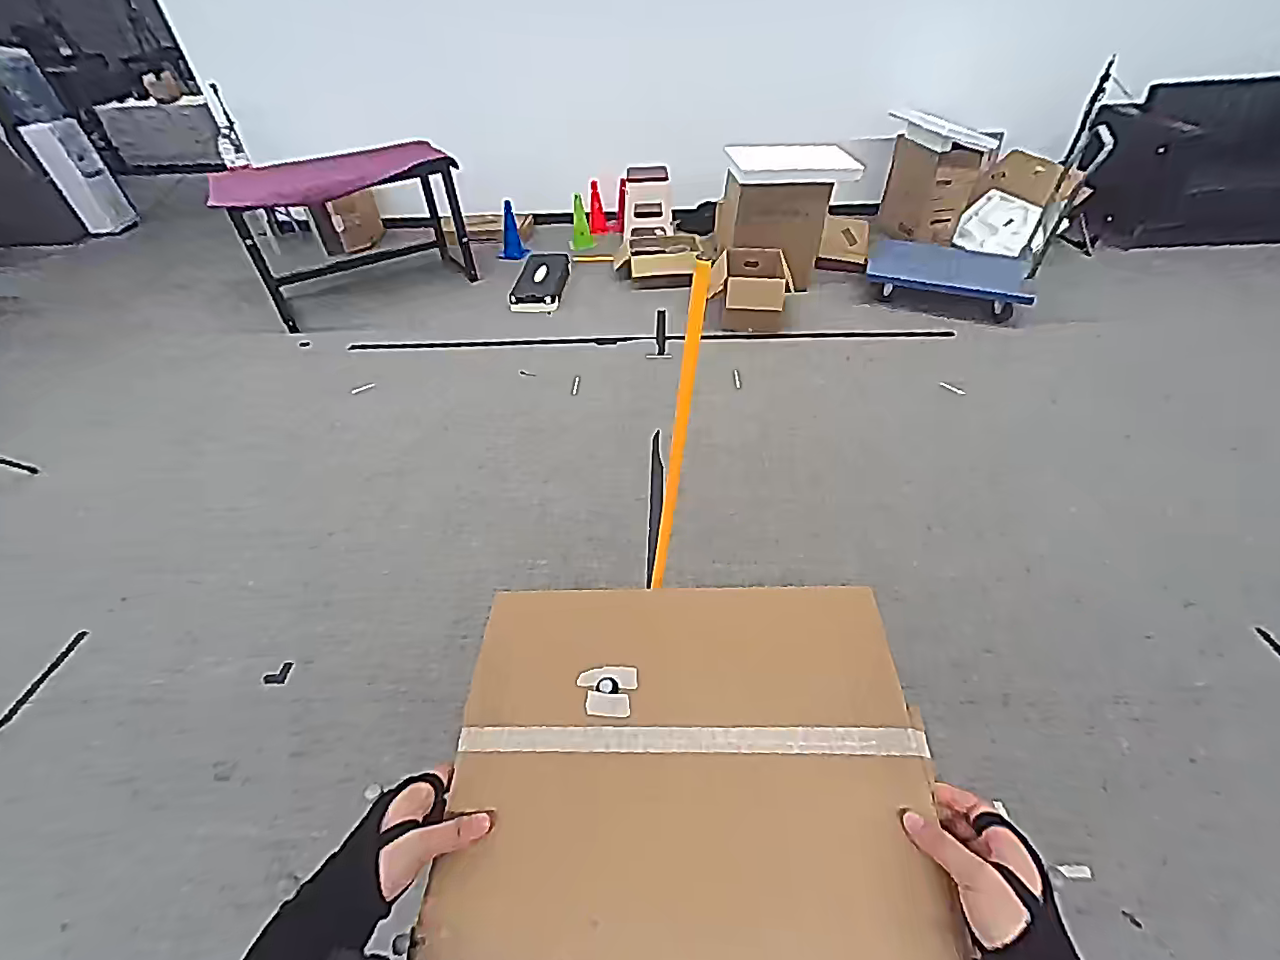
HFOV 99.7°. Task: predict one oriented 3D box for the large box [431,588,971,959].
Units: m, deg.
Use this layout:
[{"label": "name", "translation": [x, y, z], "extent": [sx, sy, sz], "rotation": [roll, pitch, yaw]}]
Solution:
[{"label": "large box", "translation": [0.059, 0.340, 0.601], "extent": [0.408, 0.320, 0.320], "rotation": [-4, 47, 7]}]
